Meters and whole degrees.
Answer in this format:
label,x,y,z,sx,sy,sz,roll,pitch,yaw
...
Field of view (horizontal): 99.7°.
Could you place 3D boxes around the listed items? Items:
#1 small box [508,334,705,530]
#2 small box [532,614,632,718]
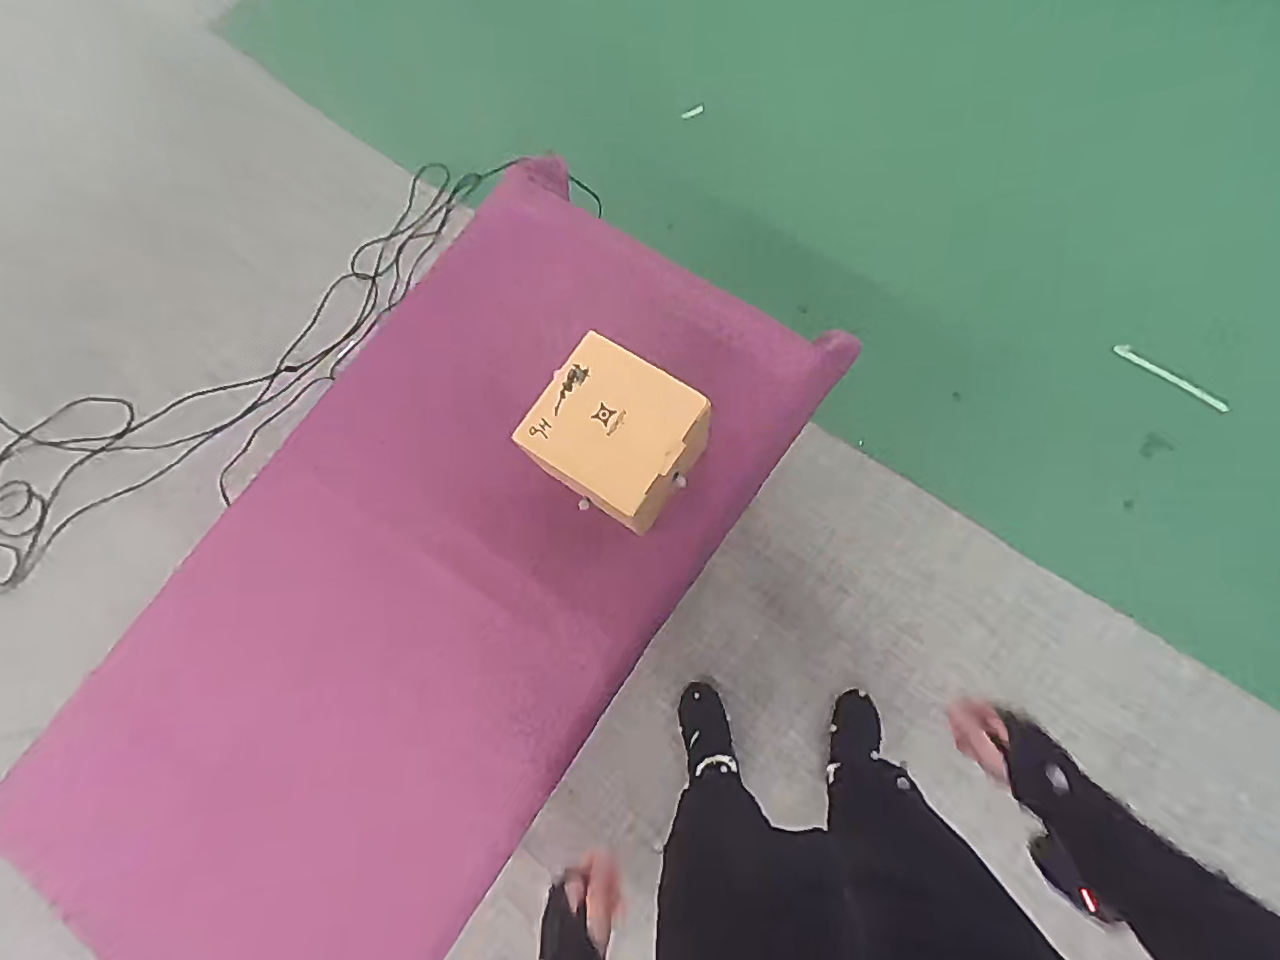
label,x,y,z,sx,sy,sz,roll,pitch,yaw
small box,-0.032,-0.049,0.700,0.179,0.176,0.168,33,82,12
small box,-0.134,0.450,1.340,0.168,0.176,0.179,35,82,12
